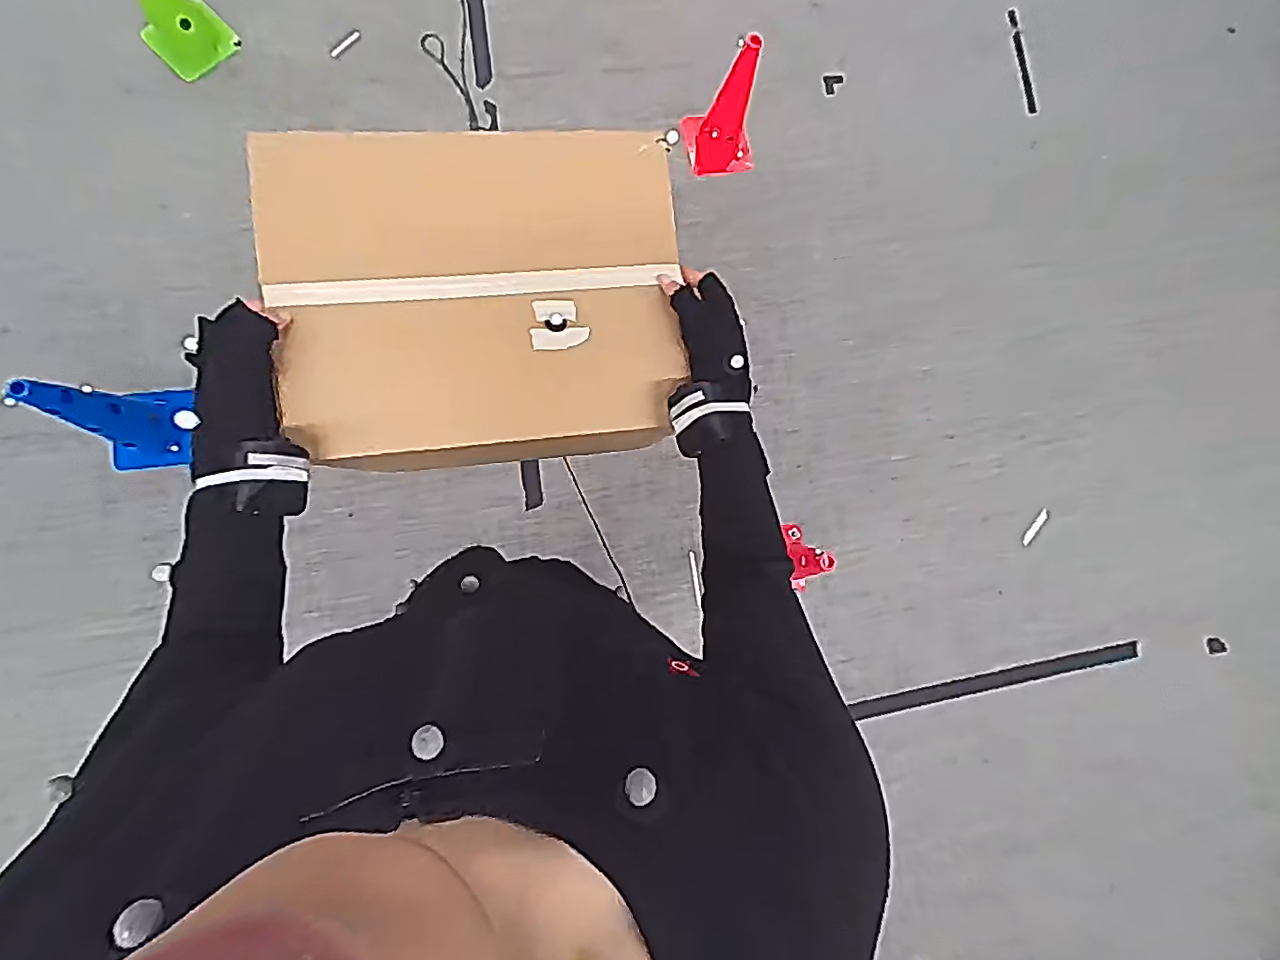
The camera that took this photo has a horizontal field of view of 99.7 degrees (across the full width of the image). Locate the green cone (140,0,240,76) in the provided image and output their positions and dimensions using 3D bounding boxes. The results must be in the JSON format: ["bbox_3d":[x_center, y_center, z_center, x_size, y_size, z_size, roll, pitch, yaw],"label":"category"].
[{"bbox_3d":[-1.248,-1.278,1.355,0.200,0.368,0.202,44,82,1],"label":"green cone"}]

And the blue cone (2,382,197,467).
[{"bbox_3d":[-1.231,-0.153,1.234,0.192,0.380,0.193,-5,83,-7],"label":"blue cone"}]

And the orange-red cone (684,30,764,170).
[{"bbox_3d":[0.268,-1.087,1.522,0.198,0.360,0.199,-10,83,-9],"label":"orange-red cone"}]

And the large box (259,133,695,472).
[{"bbox_3d":[-0.179,-0.192,0.694,0.408,0.320,0.320,-7,90,-10],"label":"large box"}]
